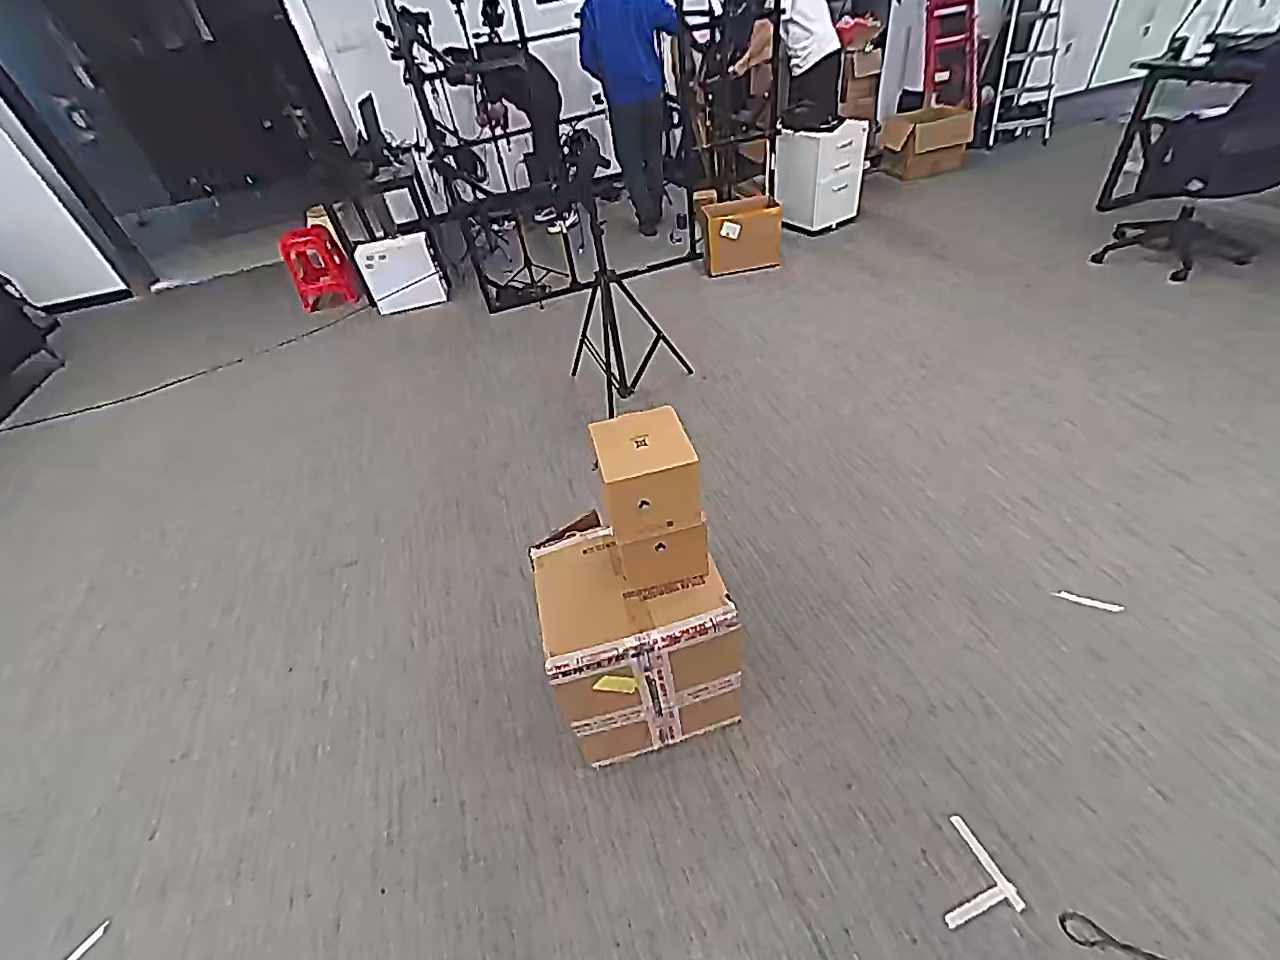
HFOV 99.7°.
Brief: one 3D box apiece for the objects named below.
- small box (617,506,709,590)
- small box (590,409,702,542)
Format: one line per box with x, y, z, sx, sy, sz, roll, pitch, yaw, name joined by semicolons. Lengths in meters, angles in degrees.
0.040;0.108;1.131;0.179;0.176;0.168;-12;44;-4;small box
0.013;-0.002;1.014;0.168;0.176;0.179;-15;43;-6;small box
